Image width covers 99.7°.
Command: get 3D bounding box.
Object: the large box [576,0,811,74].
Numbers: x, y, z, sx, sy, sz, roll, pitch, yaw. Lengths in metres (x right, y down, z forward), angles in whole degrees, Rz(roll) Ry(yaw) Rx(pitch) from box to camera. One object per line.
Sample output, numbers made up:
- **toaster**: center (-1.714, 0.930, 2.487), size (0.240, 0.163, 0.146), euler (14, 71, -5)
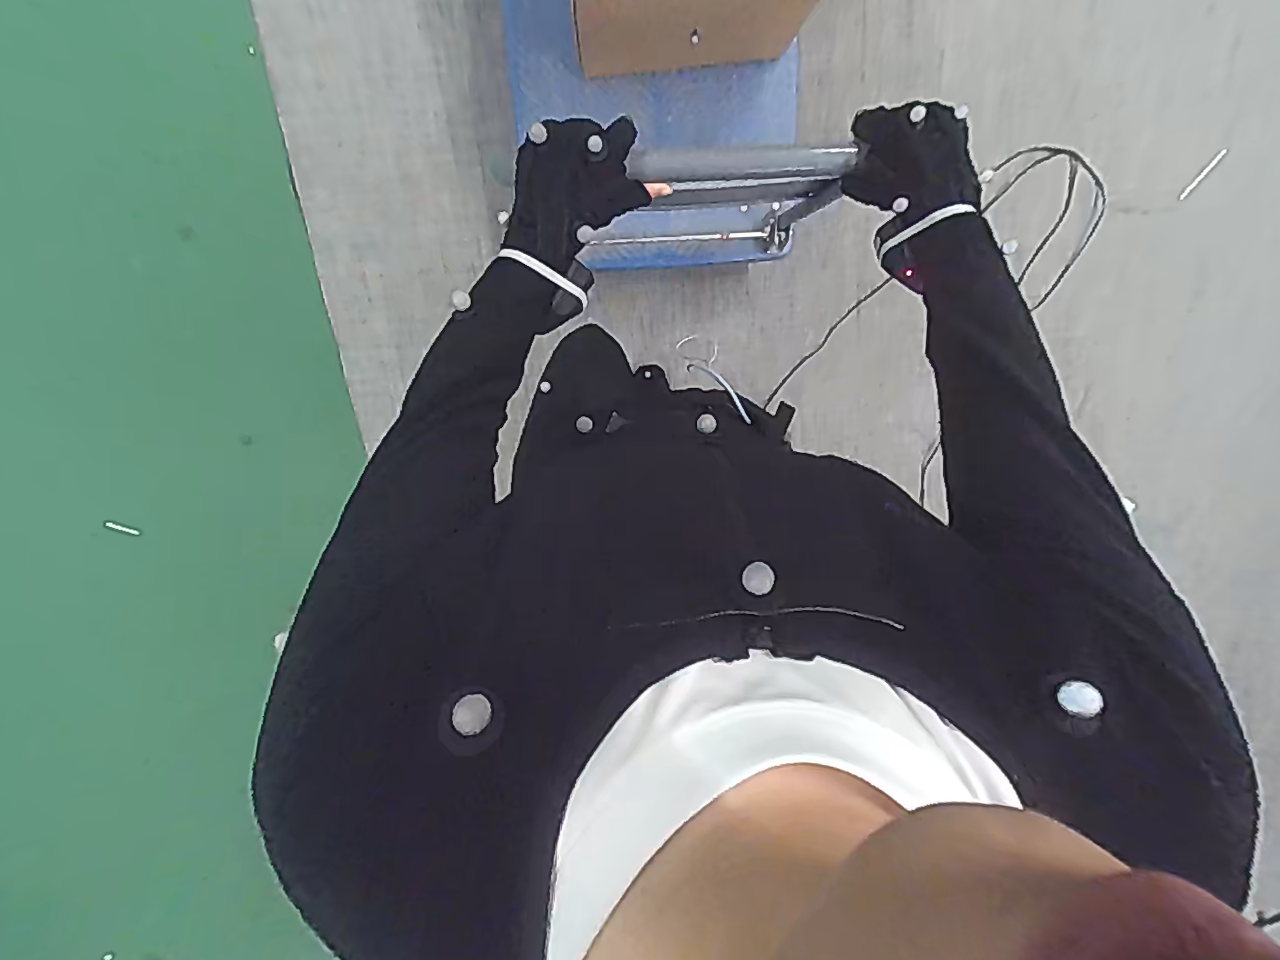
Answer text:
- **large box**: center (0.079, -0.938, 0.901), size (0.408, 0.320, 0.320), euler (-8, 107, 0)
